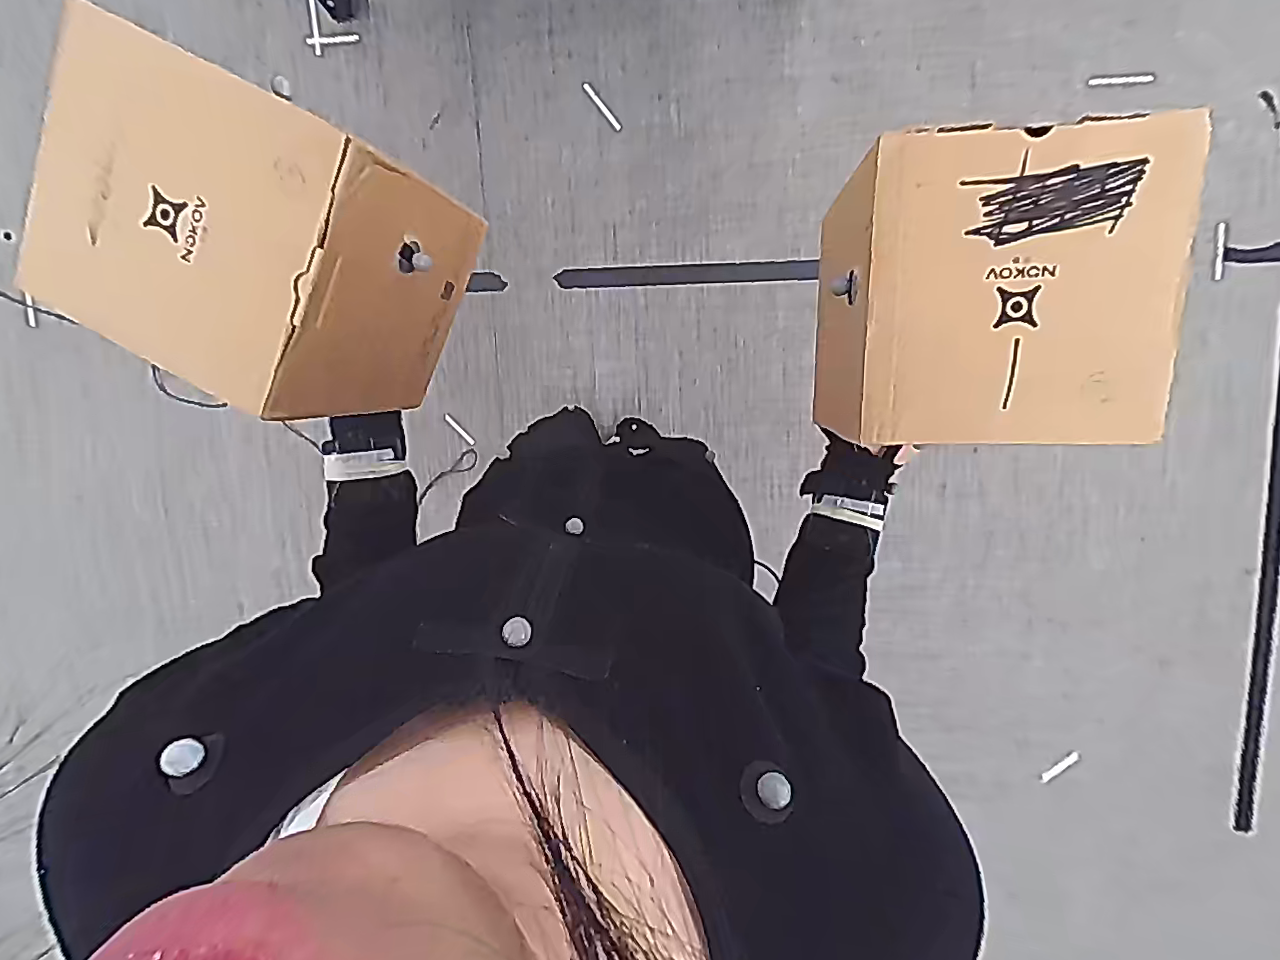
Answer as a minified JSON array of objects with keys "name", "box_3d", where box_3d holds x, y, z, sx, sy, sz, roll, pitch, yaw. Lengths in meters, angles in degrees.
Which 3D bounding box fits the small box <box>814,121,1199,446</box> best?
[{"name":"small box","box_3d":[0.226,-0.121,0.388,0.168,0.176,0.179,1,101,8]}]

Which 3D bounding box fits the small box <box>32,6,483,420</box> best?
[{"name":"small box","box_3d":[-0.240,-0.158,0.378,0.179,0.176,0.168,27,102,4]}]
